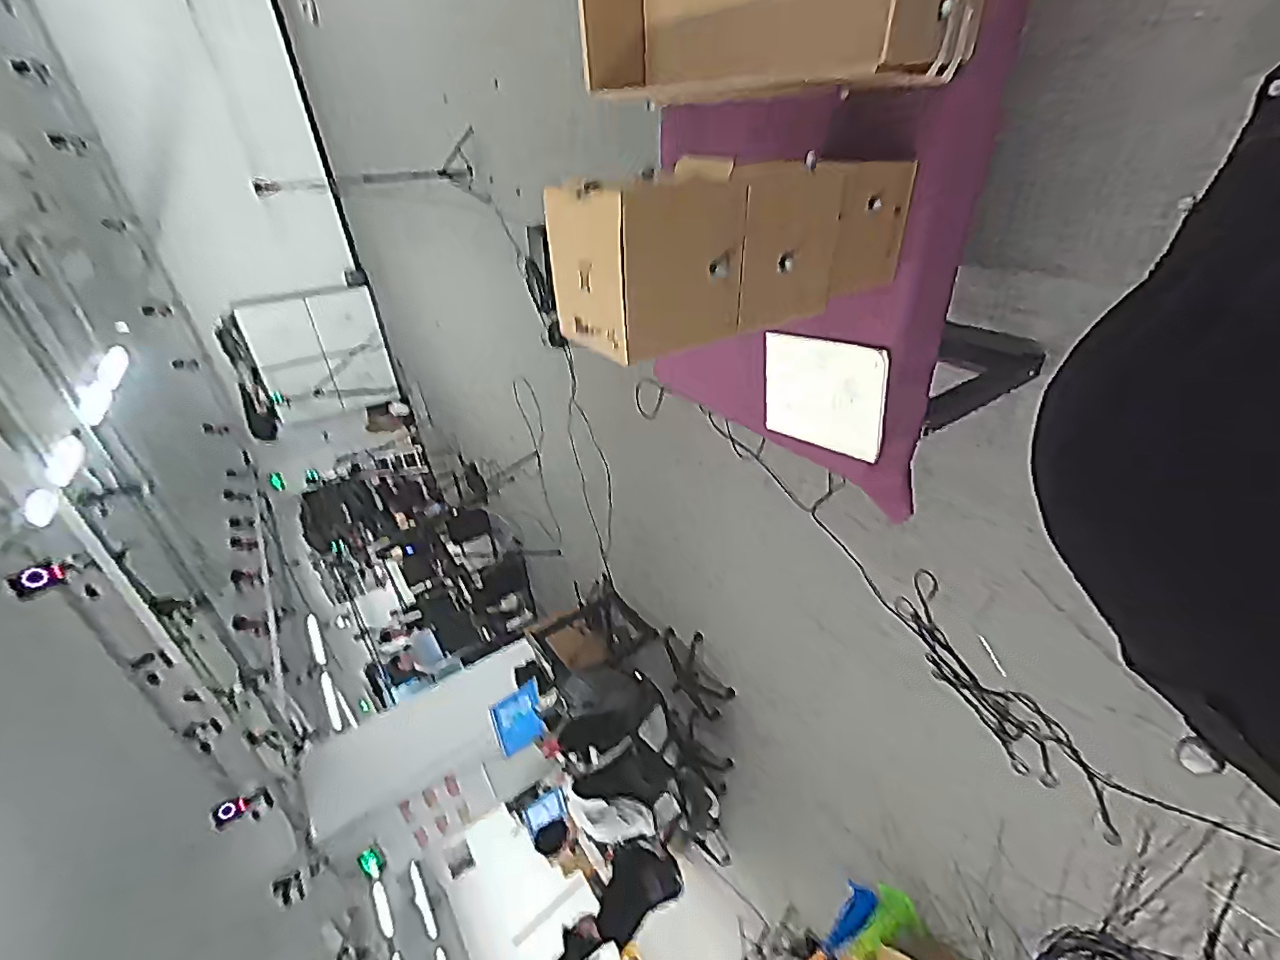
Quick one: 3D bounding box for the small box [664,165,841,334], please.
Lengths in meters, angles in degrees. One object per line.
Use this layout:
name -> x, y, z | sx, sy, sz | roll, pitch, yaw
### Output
small box -> 0.145, -0.319, 0.729 | 0.168, 0.176, 0.179 | 38, 141, 44

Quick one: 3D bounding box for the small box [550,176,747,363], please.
small box -> 0.010, -0.263, 0.652 | 0.168, 0.176, 0.179 | 38, 139, 45

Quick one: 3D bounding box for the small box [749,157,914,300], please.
small box -> 0.272, -0.383, 0.808 | 0.179, 0.176, 0.168 | 38, 140, 45
